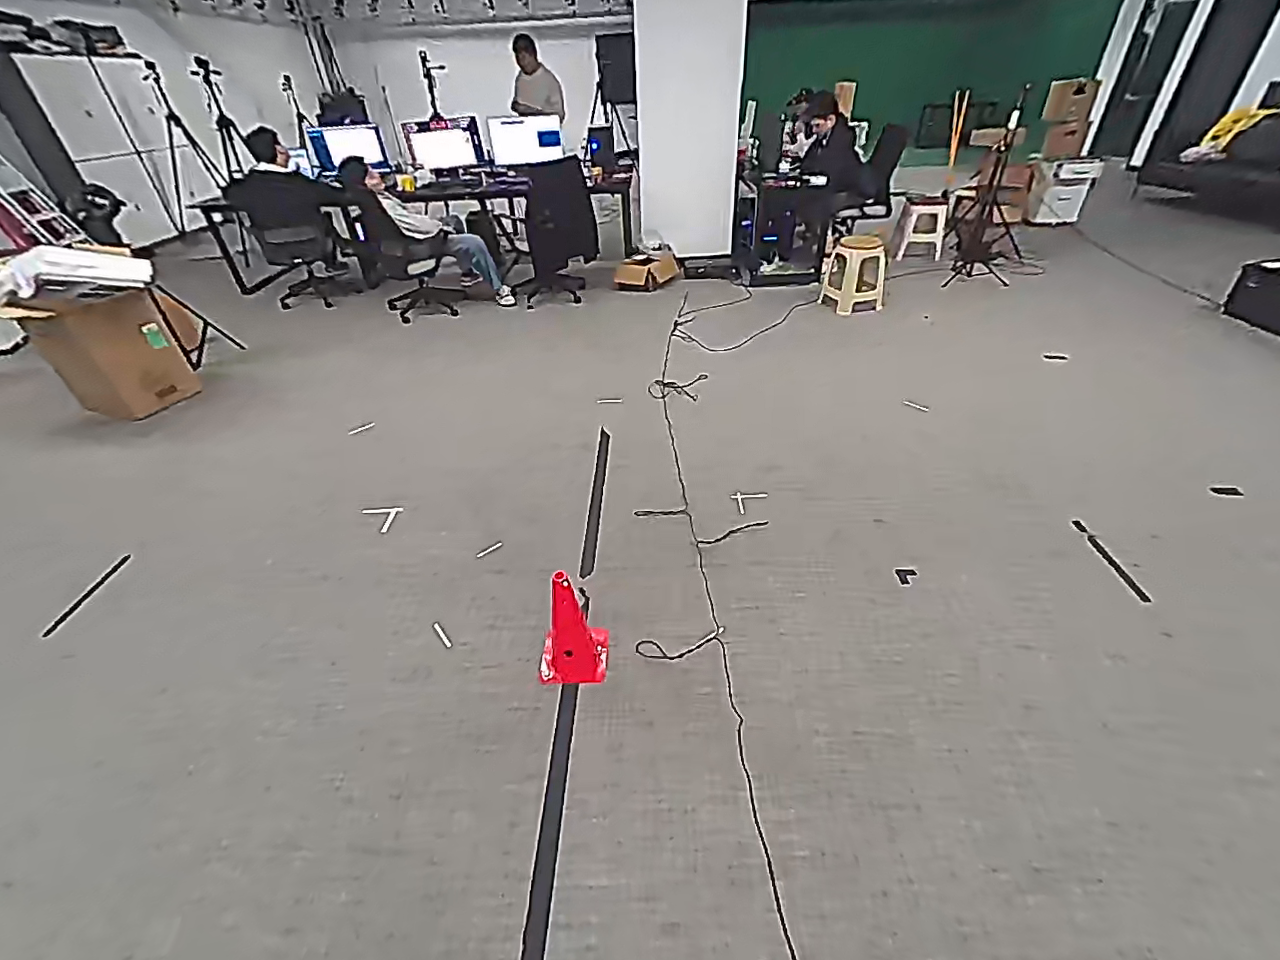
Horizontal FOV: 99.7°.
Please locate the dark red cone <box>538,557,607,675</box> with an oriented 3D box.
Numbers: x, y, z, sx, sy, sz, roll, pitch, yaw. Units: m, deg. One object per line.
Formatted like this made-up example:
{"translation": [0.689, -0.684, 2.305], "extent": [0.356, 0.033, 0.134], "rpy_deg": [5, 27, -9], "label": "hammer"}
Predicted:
{"translation": [-0.208, 0.380, 1.563], "extent": [0.201, 0.394, 0.202], "rpy_deg": [-1, 36, 1], "label": "dark red cone"}
